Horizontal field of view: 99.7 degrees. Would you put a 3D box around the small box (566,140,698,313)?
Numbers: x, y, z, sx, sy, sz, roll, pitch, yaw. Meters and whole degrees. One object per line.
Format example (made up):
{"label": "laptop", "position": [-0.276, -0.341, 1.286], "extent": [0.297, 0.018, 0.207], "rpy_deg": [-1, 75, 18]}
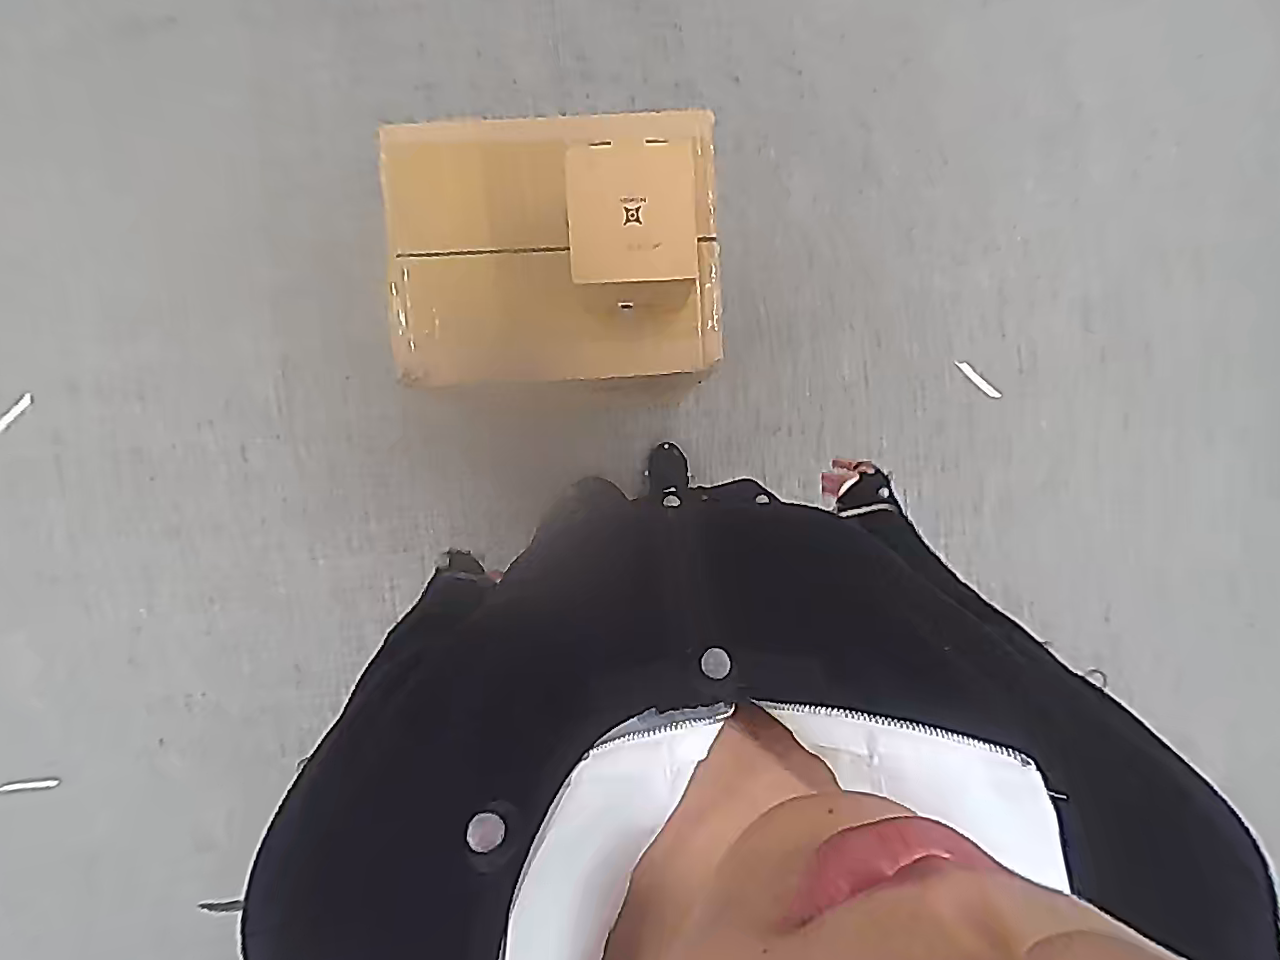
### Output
{"label": "small box", "position": [-0.011, -0.350, 0.774], "extent": [0.168, 0.176, 0.179], "rpy_deg": [-4, 95, 0]}
